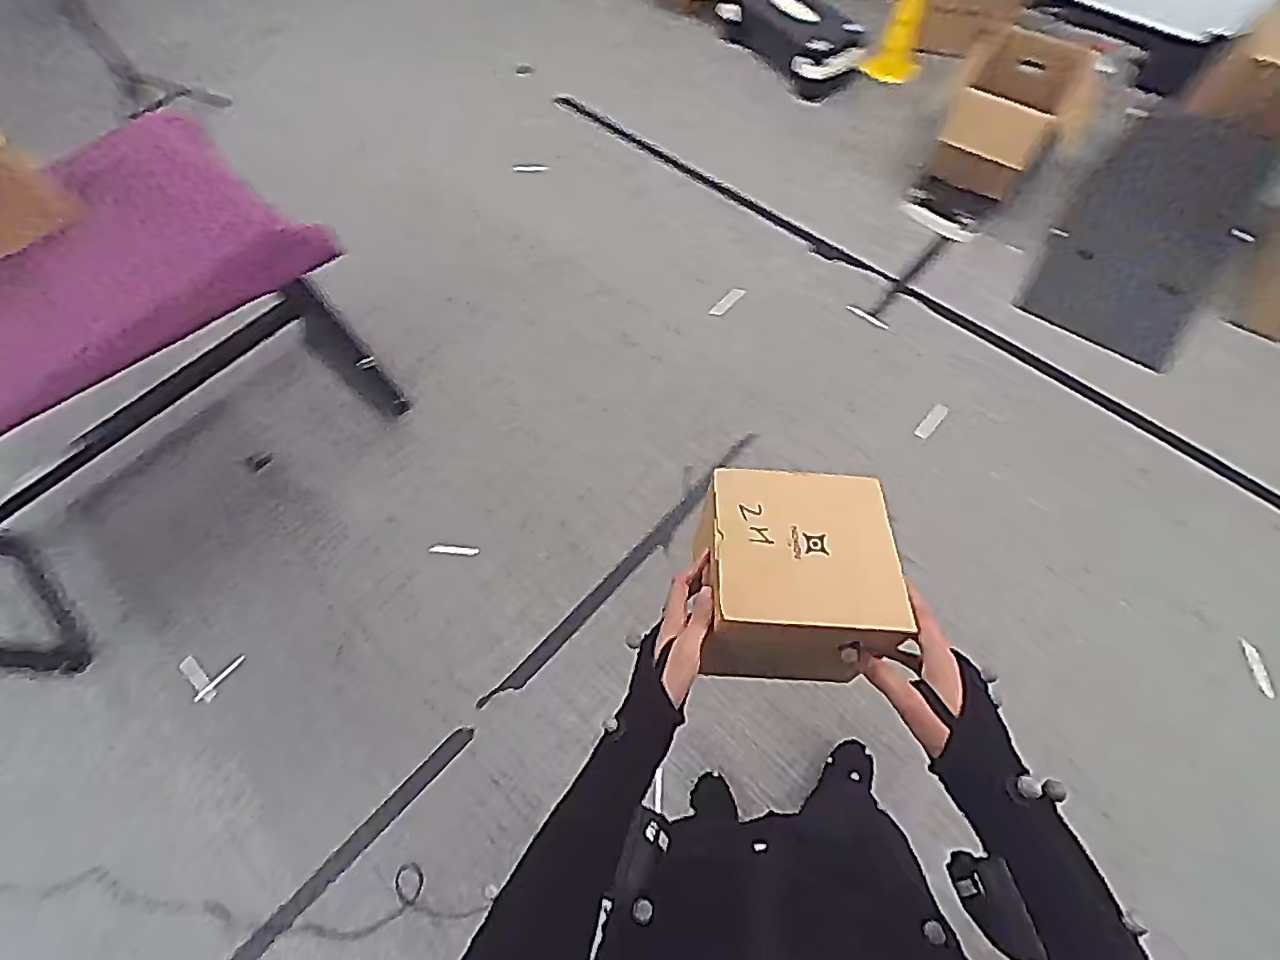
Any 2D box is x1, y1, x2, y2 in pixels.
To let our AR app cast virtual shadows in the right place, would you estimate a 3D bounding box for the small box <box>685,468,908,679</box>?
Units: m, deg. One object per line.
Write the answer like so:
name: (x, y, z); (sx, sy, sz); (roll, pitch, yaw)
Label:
small box: (0.145, 0.104, 0.574); (0.179, 0.176, 0.168); (2, 54, 0)
